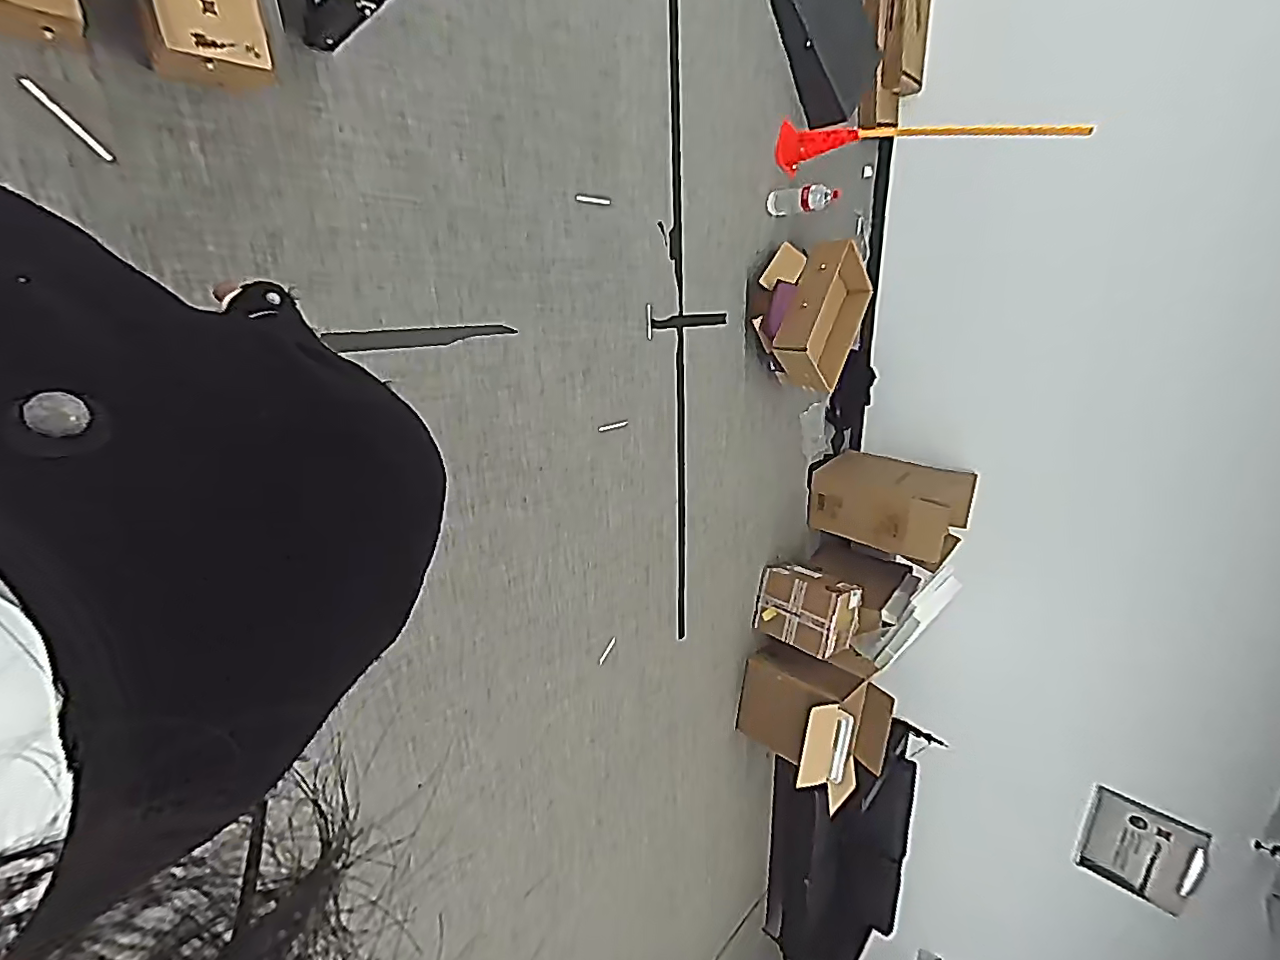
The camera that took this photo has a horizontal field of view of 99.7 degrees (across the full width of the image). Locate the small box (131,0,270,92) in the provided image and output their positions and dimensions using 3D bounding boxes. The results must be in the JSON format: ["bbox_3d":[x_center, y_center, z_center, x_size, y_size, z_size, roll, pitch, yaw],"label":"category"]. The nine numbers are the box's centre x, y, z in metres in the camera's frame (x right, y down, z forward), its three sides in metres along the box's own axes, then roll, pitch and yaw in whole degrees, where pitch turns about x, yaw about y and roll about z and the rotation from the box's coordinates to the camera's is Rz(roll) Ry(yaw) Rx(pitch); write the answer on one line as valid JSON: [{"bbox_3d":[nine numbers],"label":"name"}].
[{"bbox_3d":[-0.830,-0.866,1.012,0.168,0.176,0.179,-21,116,-42],"label":"small box"}]

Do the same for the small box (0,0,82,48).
[{"bbox_3d":[-1.013,-0.805,0.834,0.179,0.176,0.168,-20,115,-42],"label":"small box"}]
